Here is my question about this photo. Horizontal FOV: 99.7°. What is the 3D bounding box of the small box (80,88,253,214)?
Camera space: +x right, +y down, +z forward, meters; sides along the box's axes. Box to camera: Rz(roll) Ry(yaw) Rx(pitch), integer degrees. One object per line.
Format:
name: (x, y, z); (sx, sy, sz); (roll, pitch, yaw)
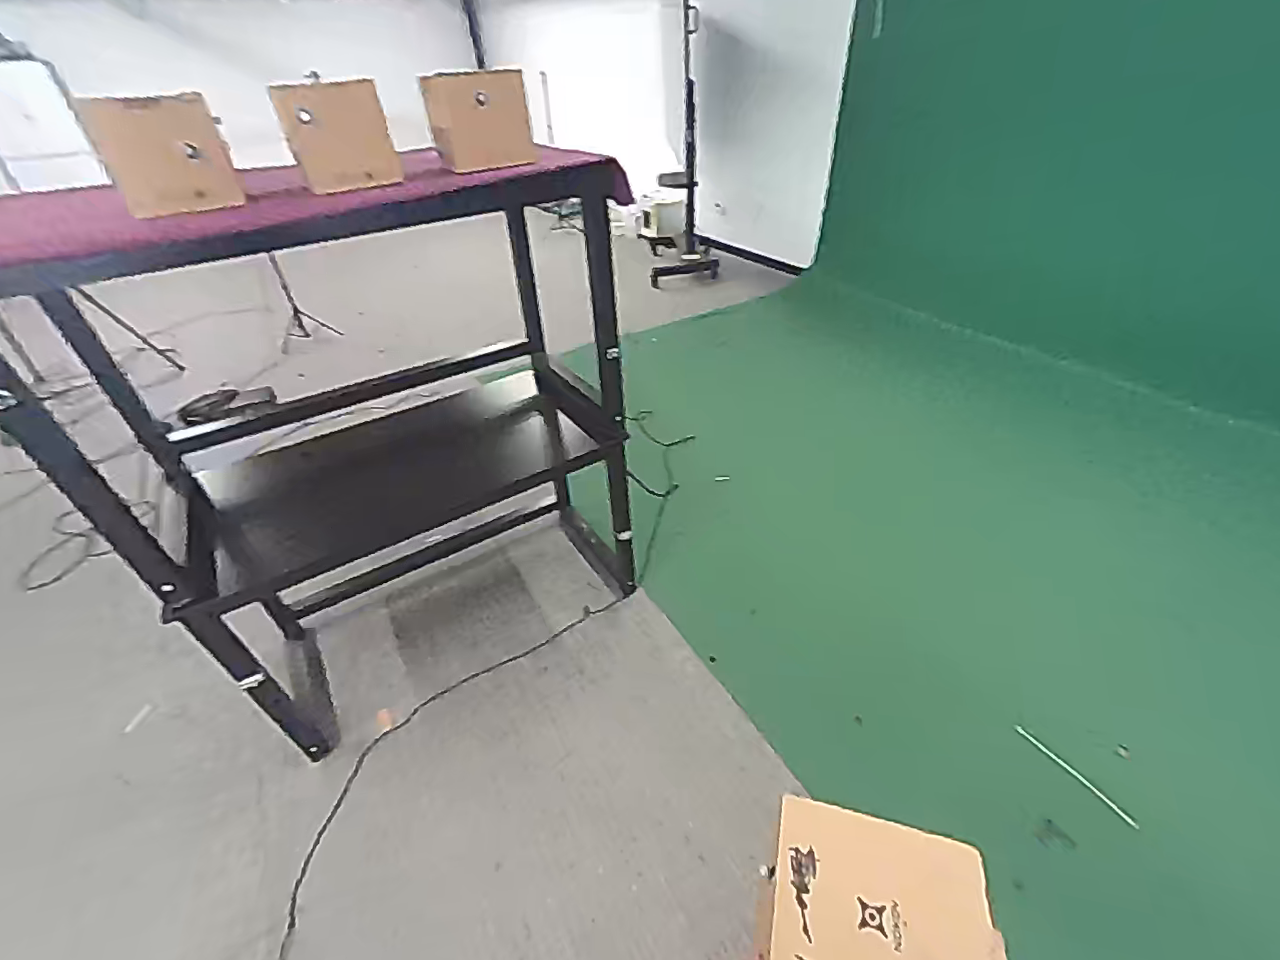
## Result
small box: (-0.801, -0.570, 0.939); (0.168, 0.176, 0.179); (-21, 40, -23)

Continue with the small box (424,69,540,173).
small box: (-0.335, -0.768, 1.160); (0.179, 0.176, 0.168); (-23, 41, -23)

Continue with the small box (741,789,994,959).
small box: (0.189, 0.422, 0.481); (0.179, 0.176, 0.168); (10, 33, 13)
